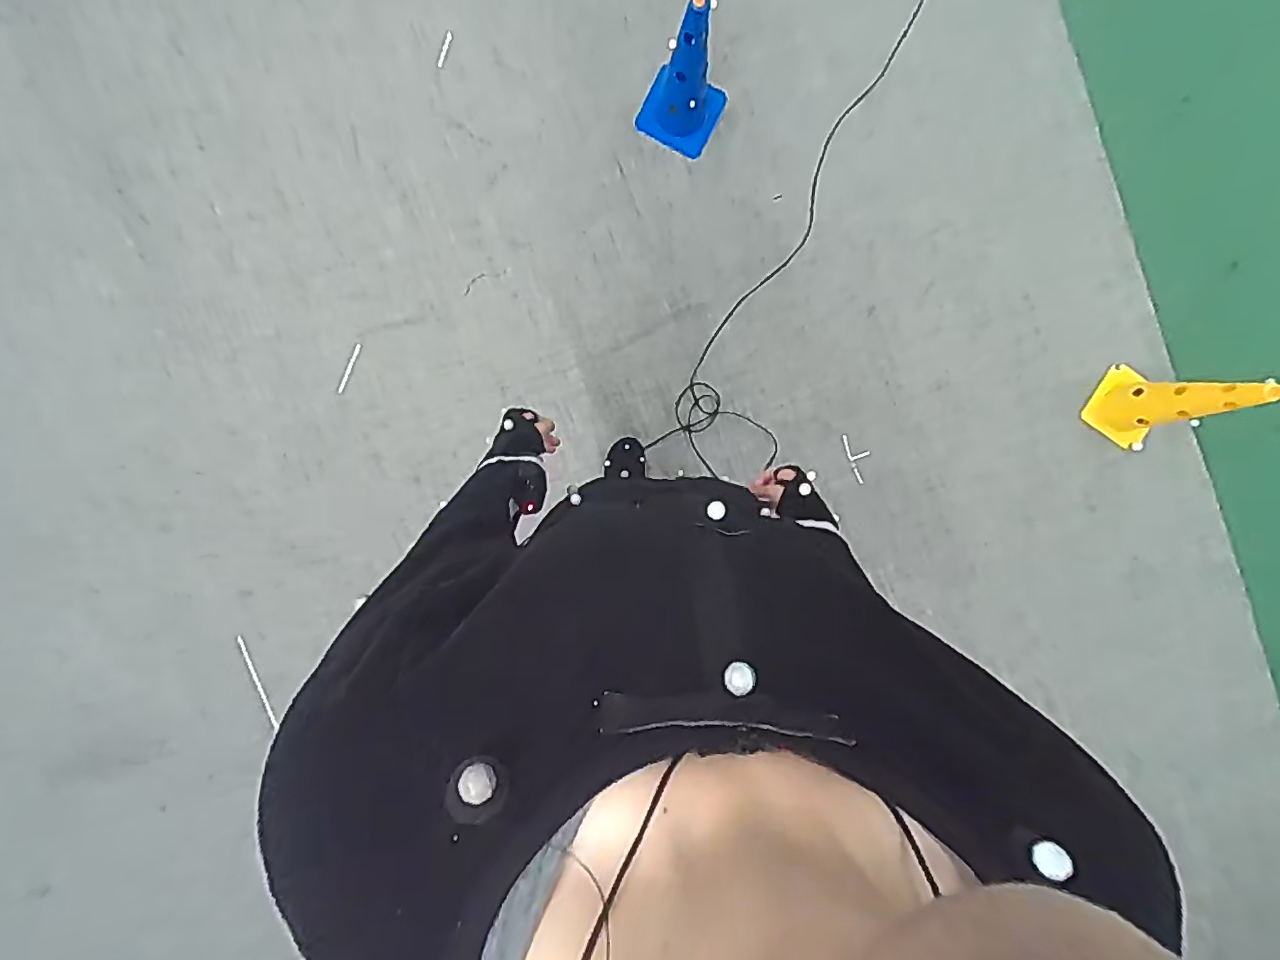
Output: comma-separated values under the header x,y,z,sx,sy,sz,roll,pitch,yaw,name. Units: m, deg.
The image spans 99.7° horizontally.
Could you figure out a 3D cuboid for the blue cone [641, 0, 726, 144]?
x,y,z,sx,sy,sz,roll,pitch,yaw,name
0.116,-0.999,1.275,0.193,0.380,0.192,25,92,-2,blue cone
